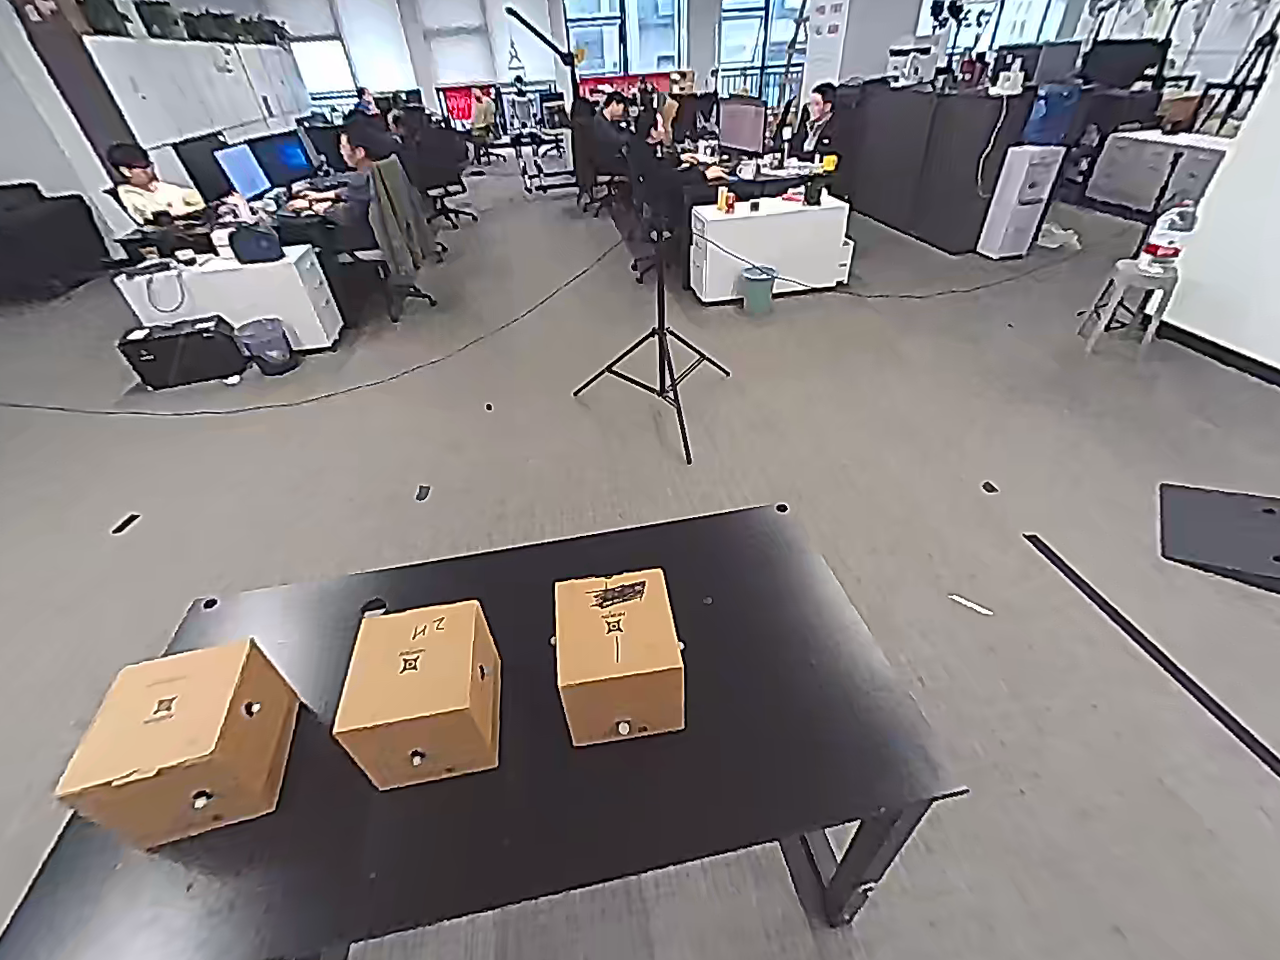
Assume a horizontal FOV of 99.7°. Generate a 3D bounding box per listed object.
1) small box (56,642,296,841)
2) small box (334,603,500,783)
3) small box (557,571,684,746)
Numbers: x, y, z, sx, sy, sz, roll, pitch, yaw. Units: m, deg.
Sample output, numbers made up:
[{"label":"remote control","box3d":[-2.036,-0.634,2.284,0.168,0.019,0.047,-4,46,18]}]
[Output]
[{"label":"small box","box3d":[-0.603,0.359,0.738,0.168,0.176,0.179,-11,38,-11]},{"label":"small box","box3d":[-0.301,0.308,0.775,0.168,0.176,0.179,-8,39,-6]},{"label":"small box","box3d":[-0.032,0.264,0.807,0.168,0.176,0.179,-8,39,-4]}]
